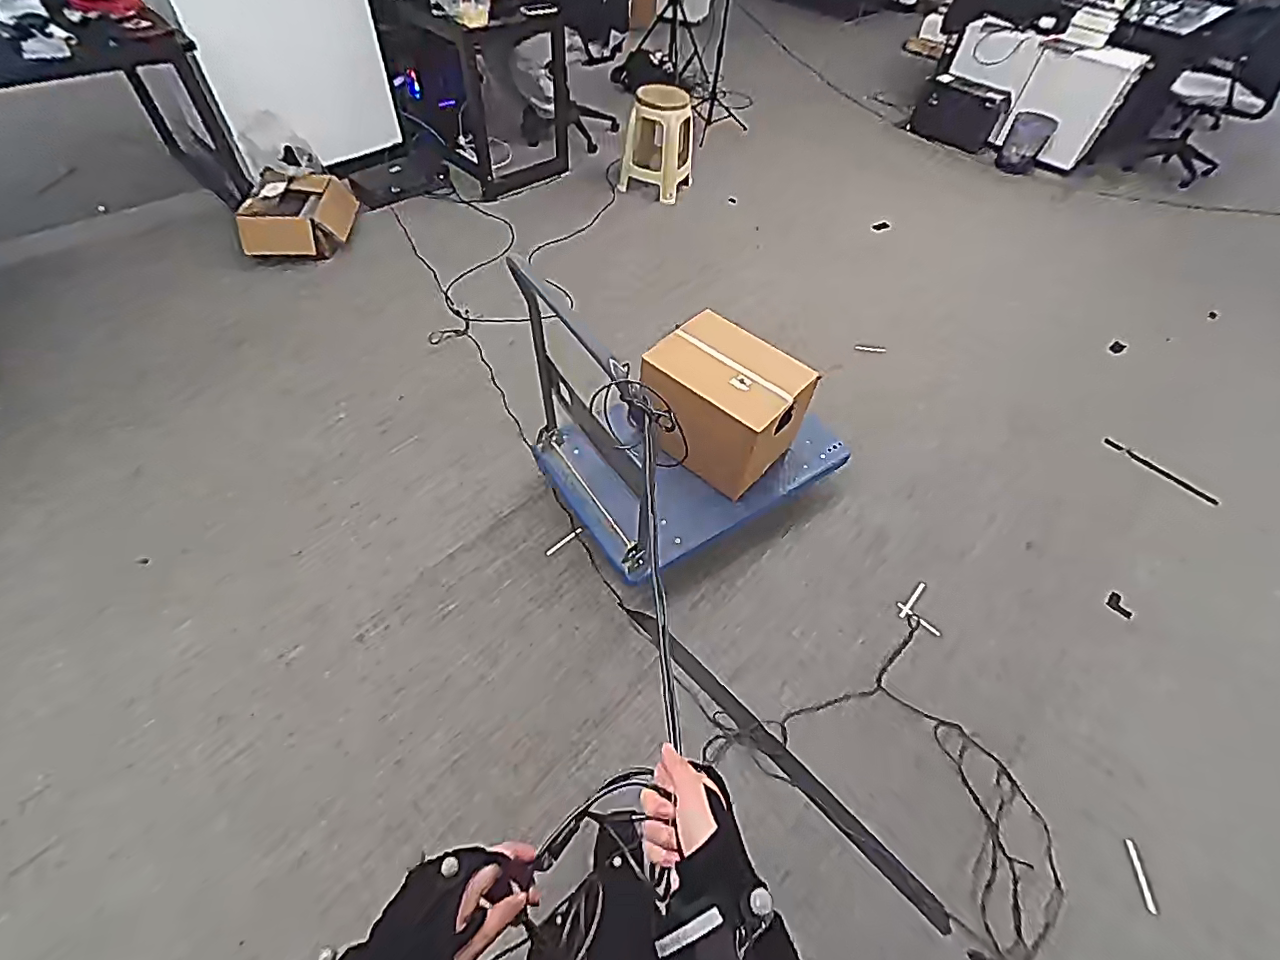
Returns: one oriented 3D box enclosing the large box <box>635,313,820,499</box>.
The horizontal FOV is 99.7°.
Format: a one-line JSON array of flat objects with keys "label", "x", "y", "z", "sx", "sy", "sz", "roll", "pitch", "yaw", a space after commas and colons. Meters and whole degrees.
[{"label": "large box", "x": 0.240, "y": -0.221, "z": 1.607, "sx": 0.408, "sy": 0.320, "sz": 0.320, "roll": 37, "pitch": 60, "yaw": 20}]
